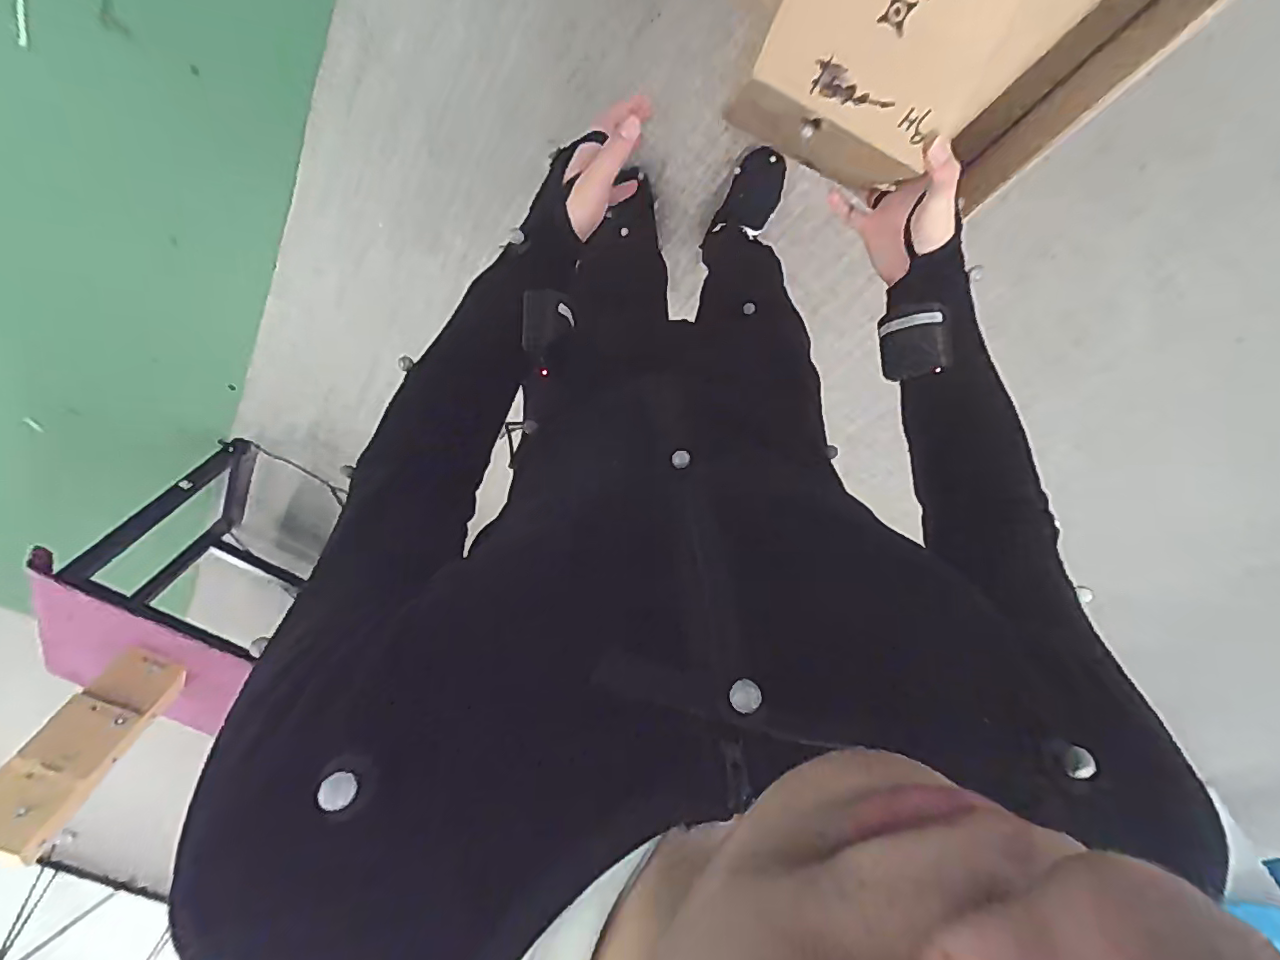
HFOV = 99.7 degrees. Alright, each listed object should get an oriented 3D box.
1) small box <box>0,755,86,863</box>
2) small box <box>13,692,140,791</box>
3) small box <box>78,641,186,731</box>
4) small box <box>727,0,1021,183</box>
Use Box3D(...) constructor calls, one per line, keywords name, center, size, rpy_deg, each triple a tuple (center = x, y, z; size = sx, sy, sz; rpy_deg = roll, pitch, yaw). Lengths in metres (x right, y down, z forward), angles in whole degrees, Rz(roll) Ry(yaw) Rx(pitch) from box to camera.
Box3D(name="small box", center=(-1.509, 0.796, 1.312), size=(0.168, 0.176, 0.179), rpy_deg=(31, 128, -15))
Box3D(name="small box", center=(-1.479, 0.690, 1.431), size=(0.168, 0.176, 0.179), rpy_deg=(32, 128, -16))
Box3D(name="small box", center=(-1.469, 0.600, 1.569), size=(0.168, 0.176, 0.179), rpy_deg=(34, 126, -17))
Box3D(name="small box", center=(0.193, -0.391, 0.474), size=(0.168, 0.176, 0.179), rpy_deg=(23, 111, -11))
